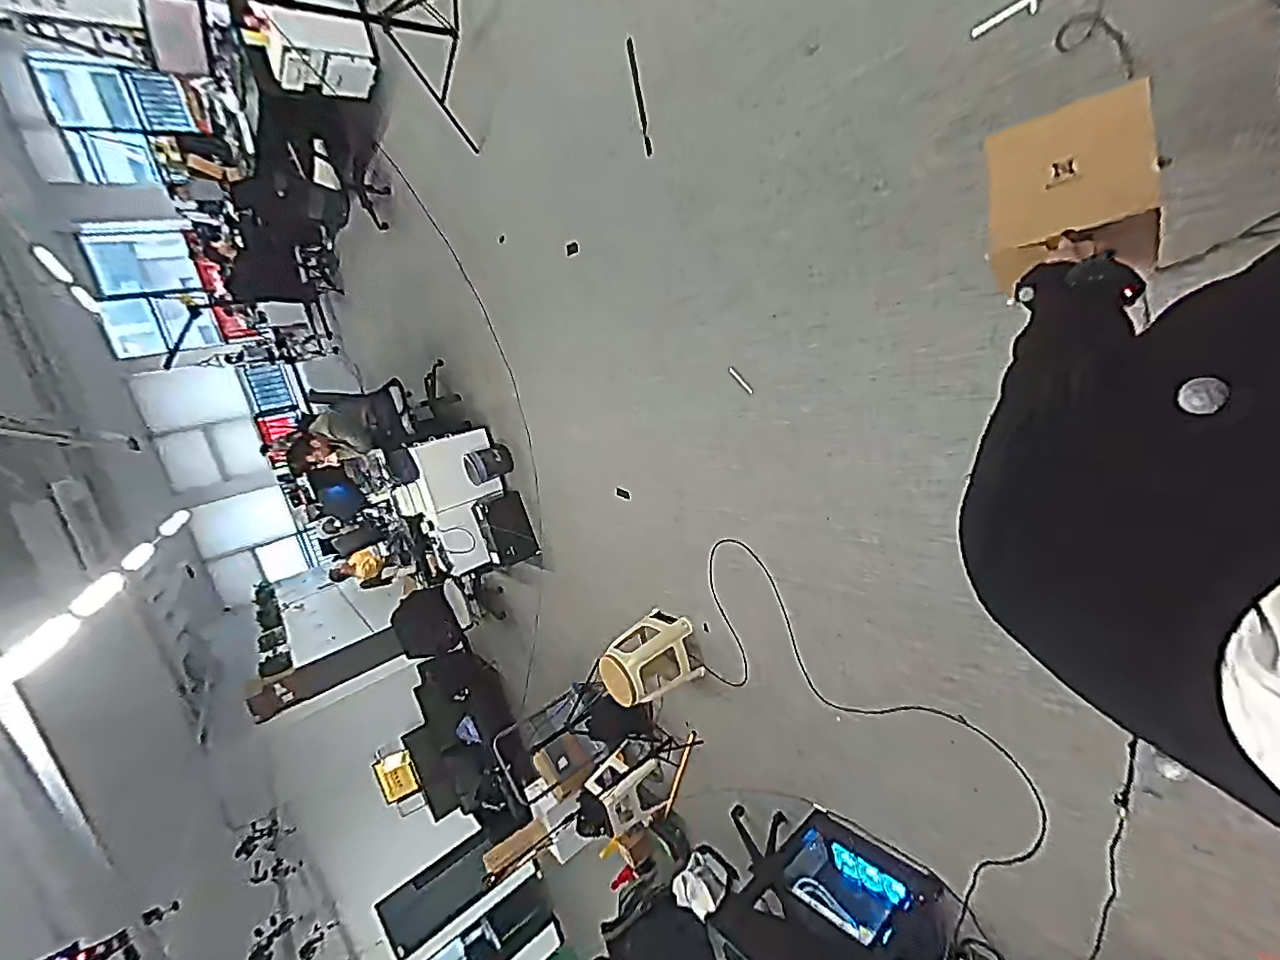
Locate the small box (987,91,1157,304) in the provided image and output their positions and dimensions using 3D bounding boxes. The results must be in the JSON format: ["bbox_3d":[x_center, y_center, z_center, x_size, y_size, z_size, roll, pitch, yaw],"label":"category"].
[{"bbox_3d":[0.586,-0.360,0.737,0.168,0.176,0.179,-4,75,40],"label":"small box"}]
